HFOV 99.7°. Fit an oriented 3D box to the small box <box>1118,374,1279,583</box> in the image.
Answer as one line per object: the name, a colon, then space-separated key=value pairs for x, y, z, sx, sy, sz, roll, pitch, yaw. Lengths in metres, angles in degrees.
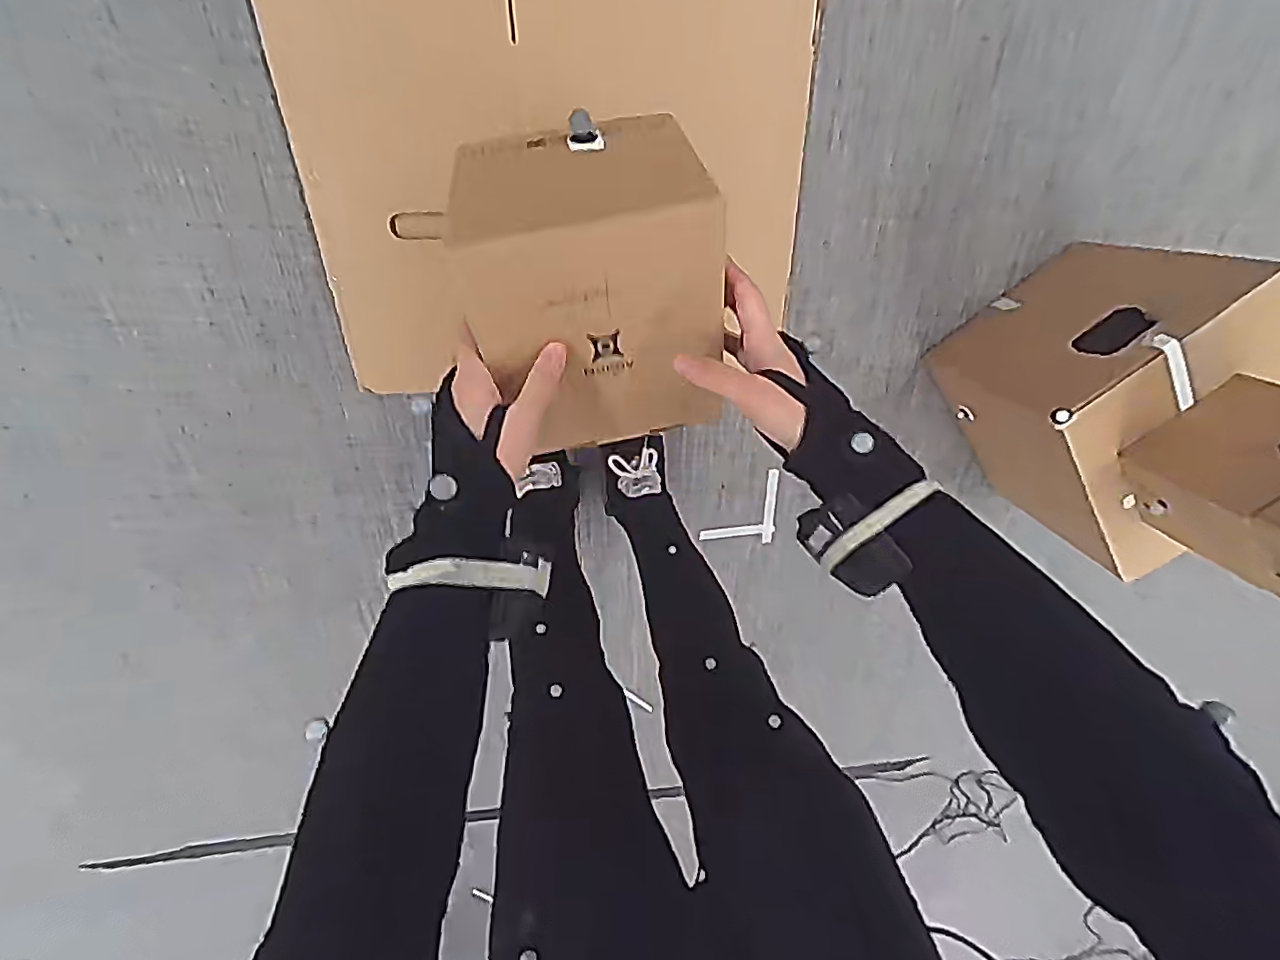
small box: x=0.790 y=-0.010 z=0.703 sx=0.179 sy=0.176 sz=0.168 roll=-39 pitch=118 yaw=13

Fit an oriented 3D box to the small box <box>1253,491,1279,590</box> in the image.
small box: x=0.817 y=0.067 z=0.560 sx=0.179 sy=0.176 sz=0.168 roll=-39 pitch=117 yaw=12

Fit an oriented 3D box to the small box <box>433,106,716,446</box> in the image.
small box: x=-0.041 y=-0.157 z=0.421 sx=0.168 sy=0.176 sz=0.179 roll=-12 pitch=138 yaw=-2
